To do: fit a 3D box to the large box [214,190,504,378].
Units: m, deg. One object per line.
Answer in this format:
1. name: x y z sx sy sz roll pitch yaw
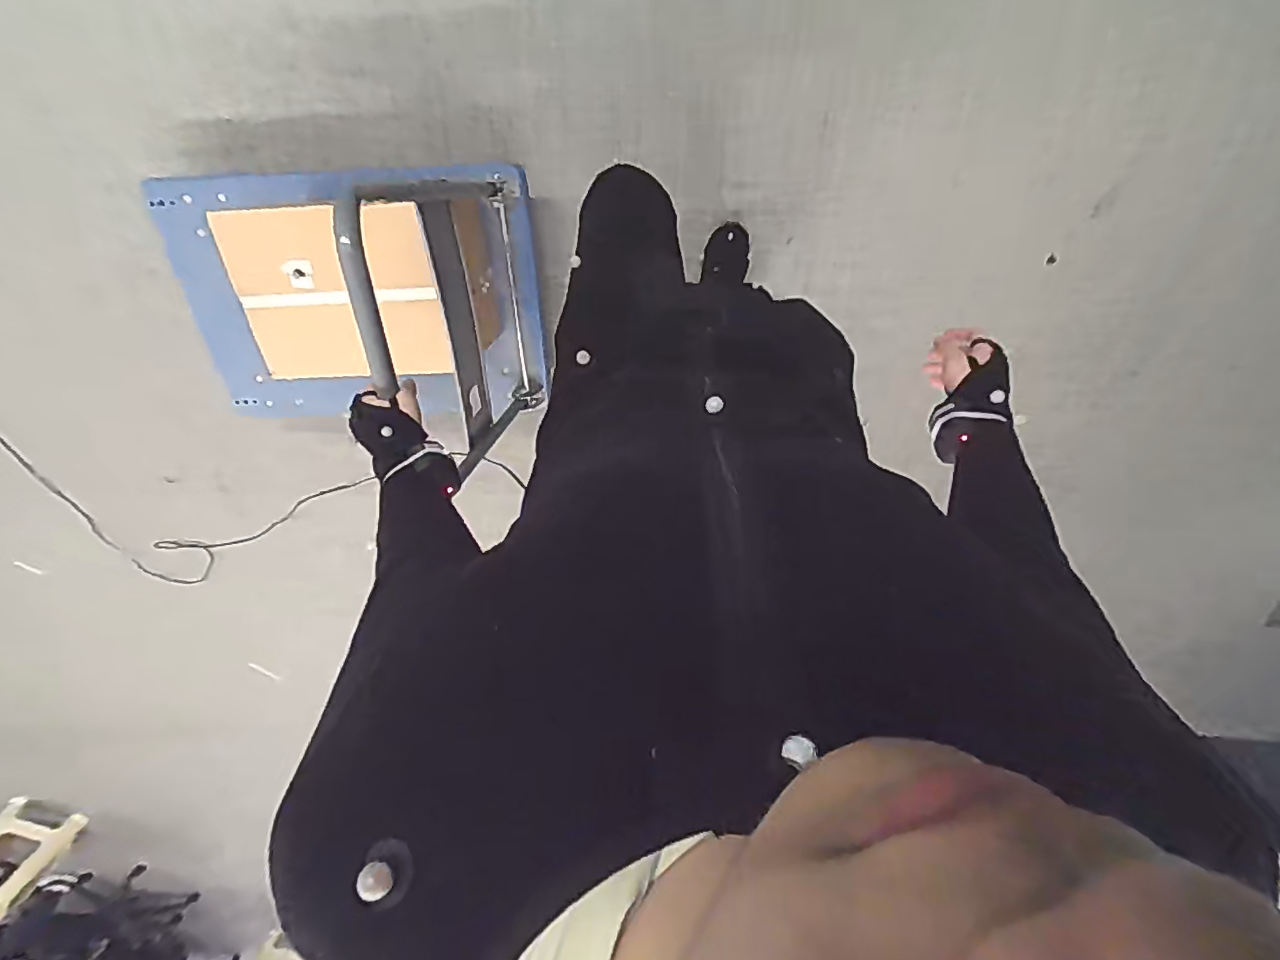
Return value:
1. large box: -0.545 -0.423 1.147 0.408 0.320 0.320 -2 119 3
